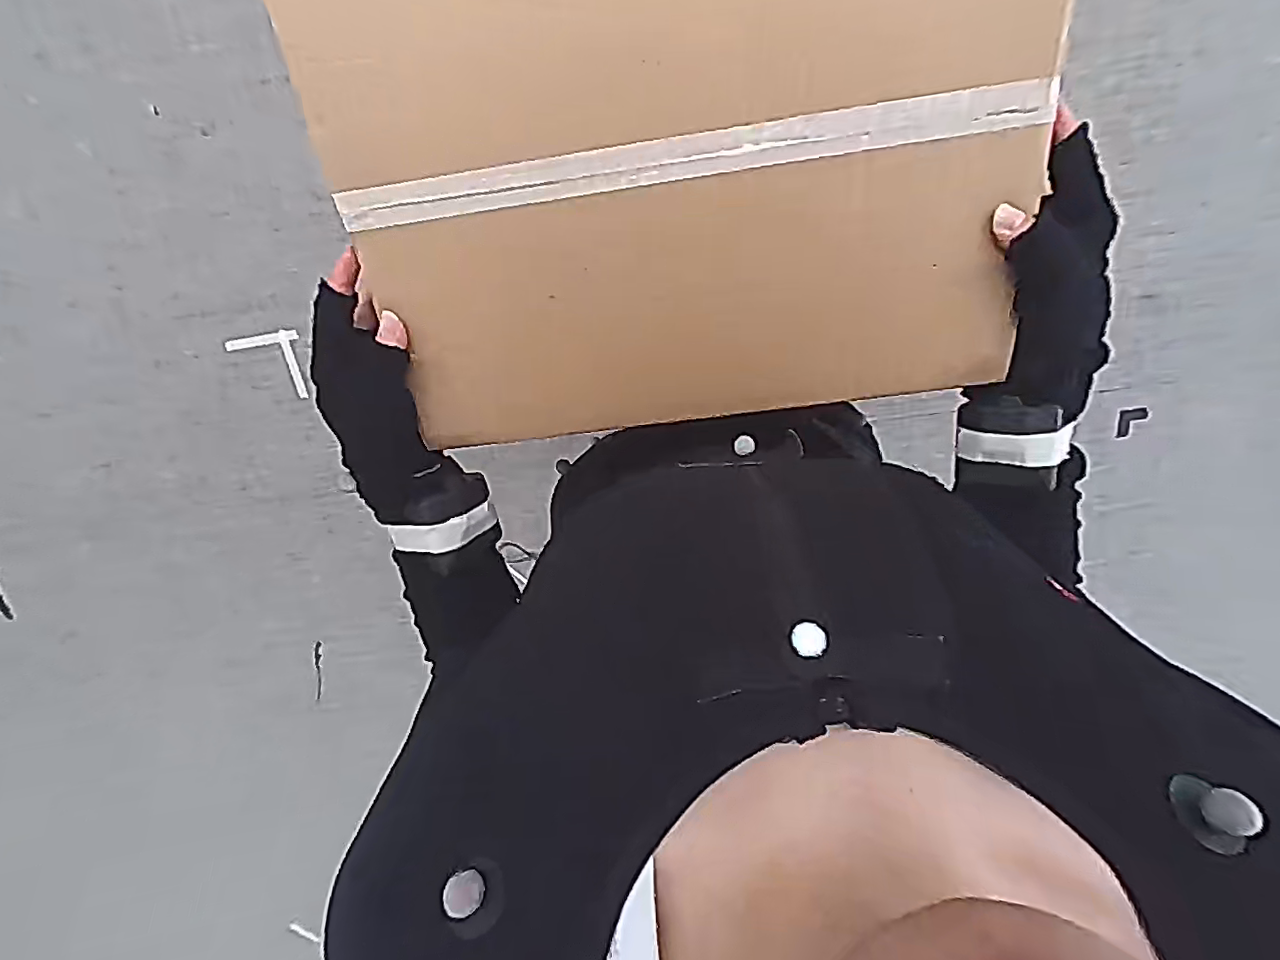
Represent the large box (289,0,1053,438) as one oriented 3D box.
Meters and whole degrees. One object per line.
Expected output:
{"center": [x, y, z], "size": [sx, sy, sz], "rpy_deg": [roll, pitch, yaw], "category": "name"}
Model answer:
{"center": [0.024, -0.257, 0.449], "size": [0.408, 0.320, 0.320], "rpy_deg": [-7, 118, 4], "category": "large box"}
